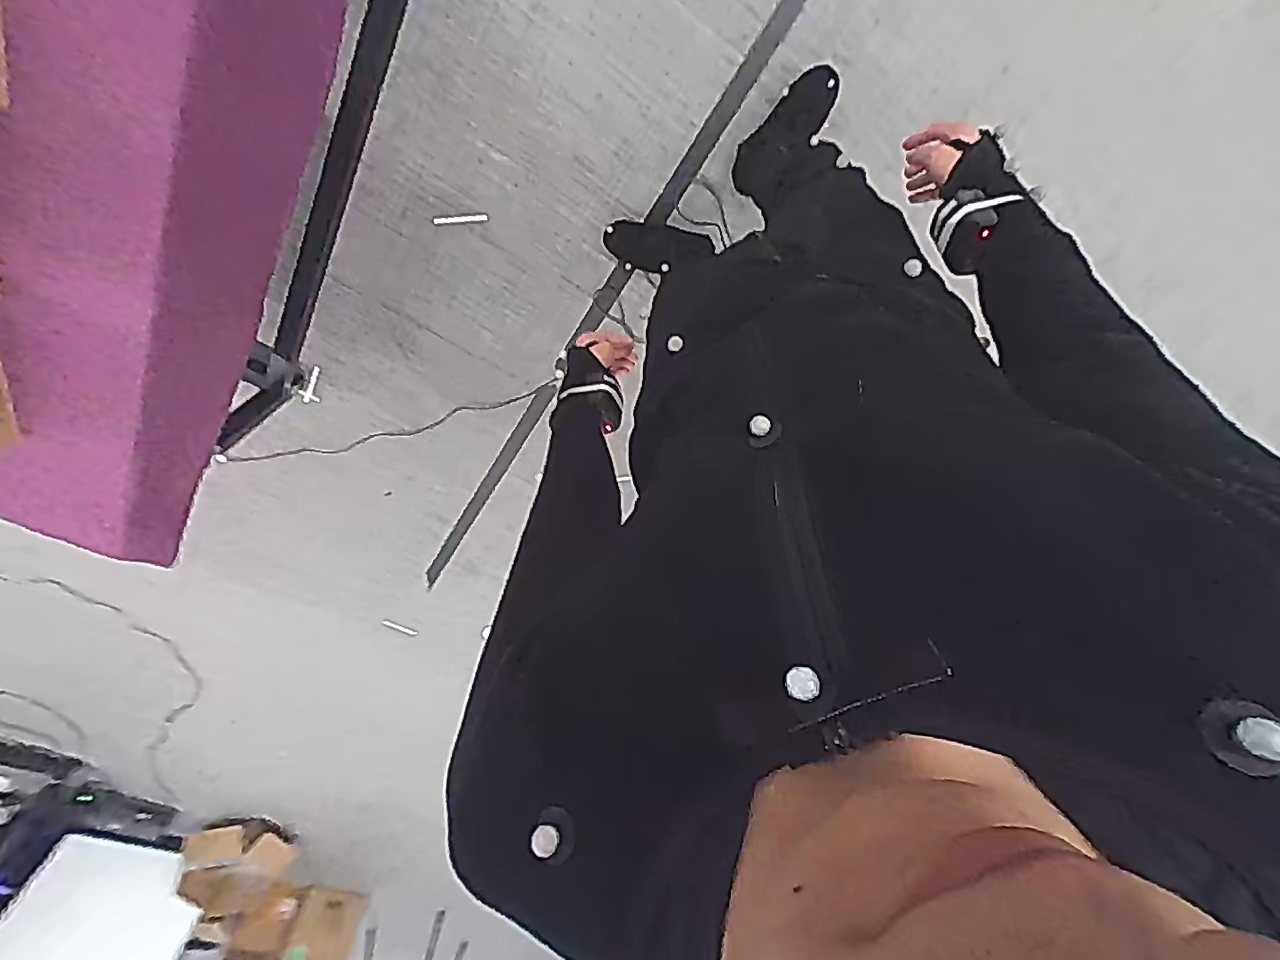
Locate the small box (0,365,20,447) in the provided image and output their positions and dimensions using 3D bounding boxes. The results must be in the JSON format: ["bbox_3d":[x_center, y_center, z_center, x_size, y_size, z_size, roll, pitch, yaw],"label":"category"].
[{"bbox_3d":[-1.067,-0.102,0.765,0.179,0.176,0.168,19,122,-13],"label":"small box"}]
